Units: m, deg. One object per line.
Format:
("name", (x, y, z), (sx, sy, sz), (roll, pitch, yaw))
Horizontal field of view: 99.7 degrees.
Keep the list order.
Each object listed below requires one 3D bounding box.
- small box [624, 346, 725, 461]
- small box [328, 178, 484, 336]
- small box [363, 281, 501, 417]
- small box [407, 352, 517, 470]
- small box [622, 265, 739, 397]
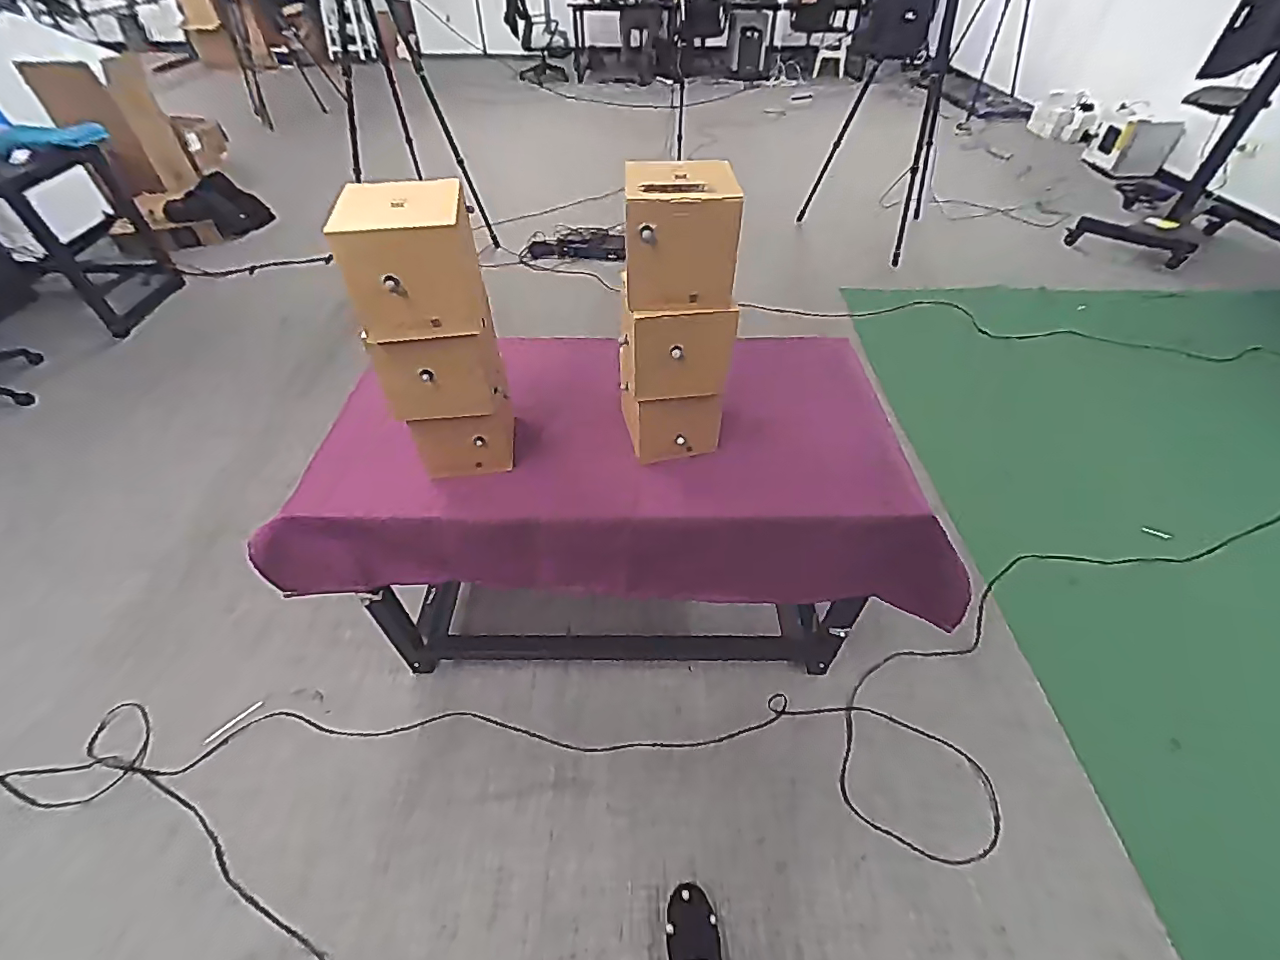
("small box", (0.062, -0.164, 1.098), (0.168, 0.176, 0.179), (-9, 47, -8))
("small box", (-0.333, -0.328, 0.810), (0.168, 0.176, 0.179), (-7, 47, -8))
("small box", (-0.343, -0.225, 0.936), (0.179, 0.176, 0.168), (-5, 47, -5))
("small box", (-0.342, -0.131, 1.072), (0.168, 0.176, 0.179), (-4, 46, -5))
("small box", (0.065, -0.262, 0.965), (0.179, 0.176, 0.168), (-6, 47, -5))
